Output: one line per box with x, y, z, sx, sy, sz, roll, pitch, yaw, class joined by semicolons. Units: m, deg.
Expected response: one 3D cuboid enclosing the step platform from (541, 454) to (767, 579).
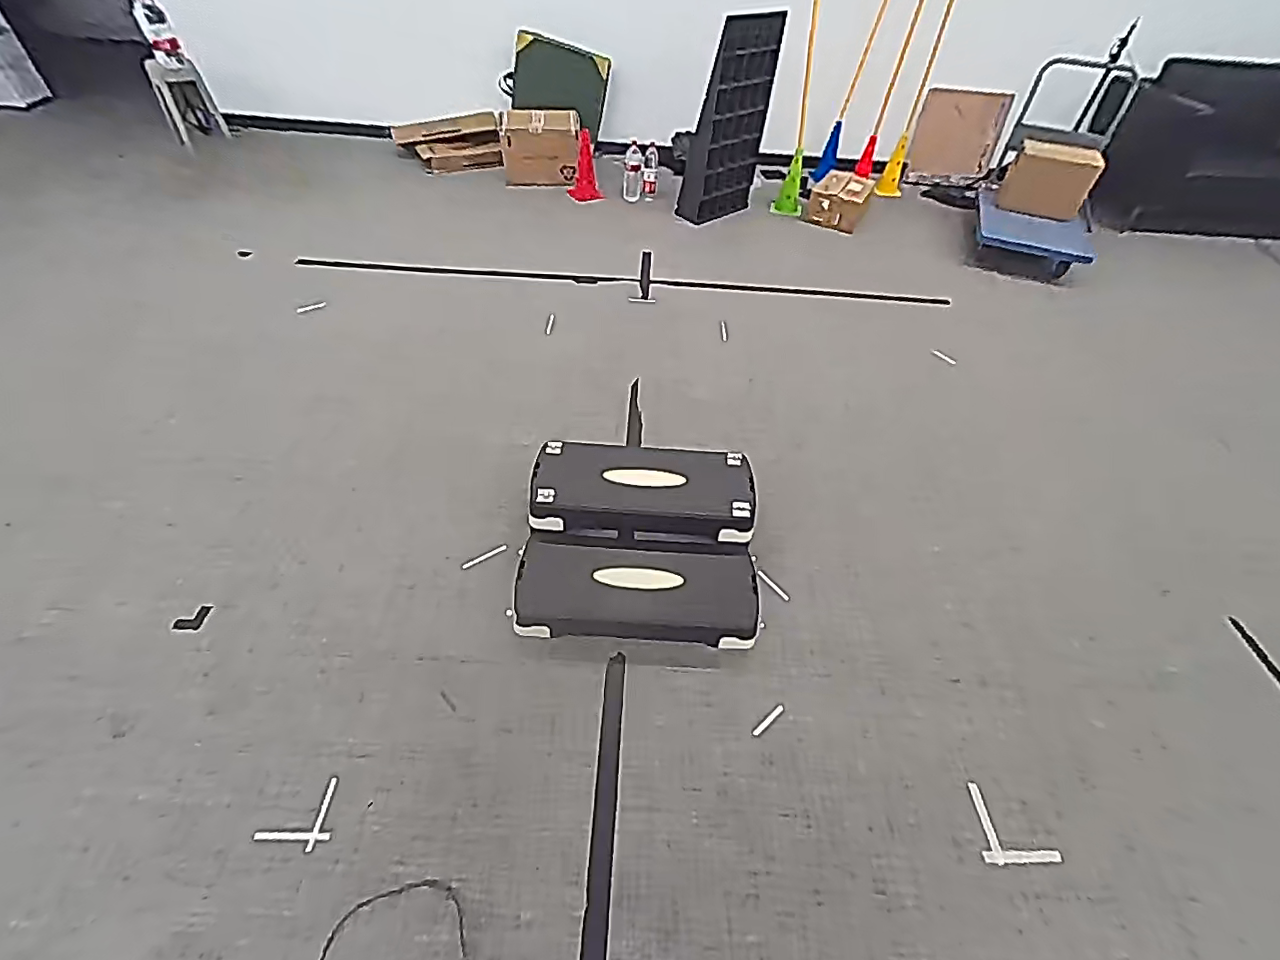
0.043;0.106;1.678;0.684;0.204;0.286;7;46;2;step platform
